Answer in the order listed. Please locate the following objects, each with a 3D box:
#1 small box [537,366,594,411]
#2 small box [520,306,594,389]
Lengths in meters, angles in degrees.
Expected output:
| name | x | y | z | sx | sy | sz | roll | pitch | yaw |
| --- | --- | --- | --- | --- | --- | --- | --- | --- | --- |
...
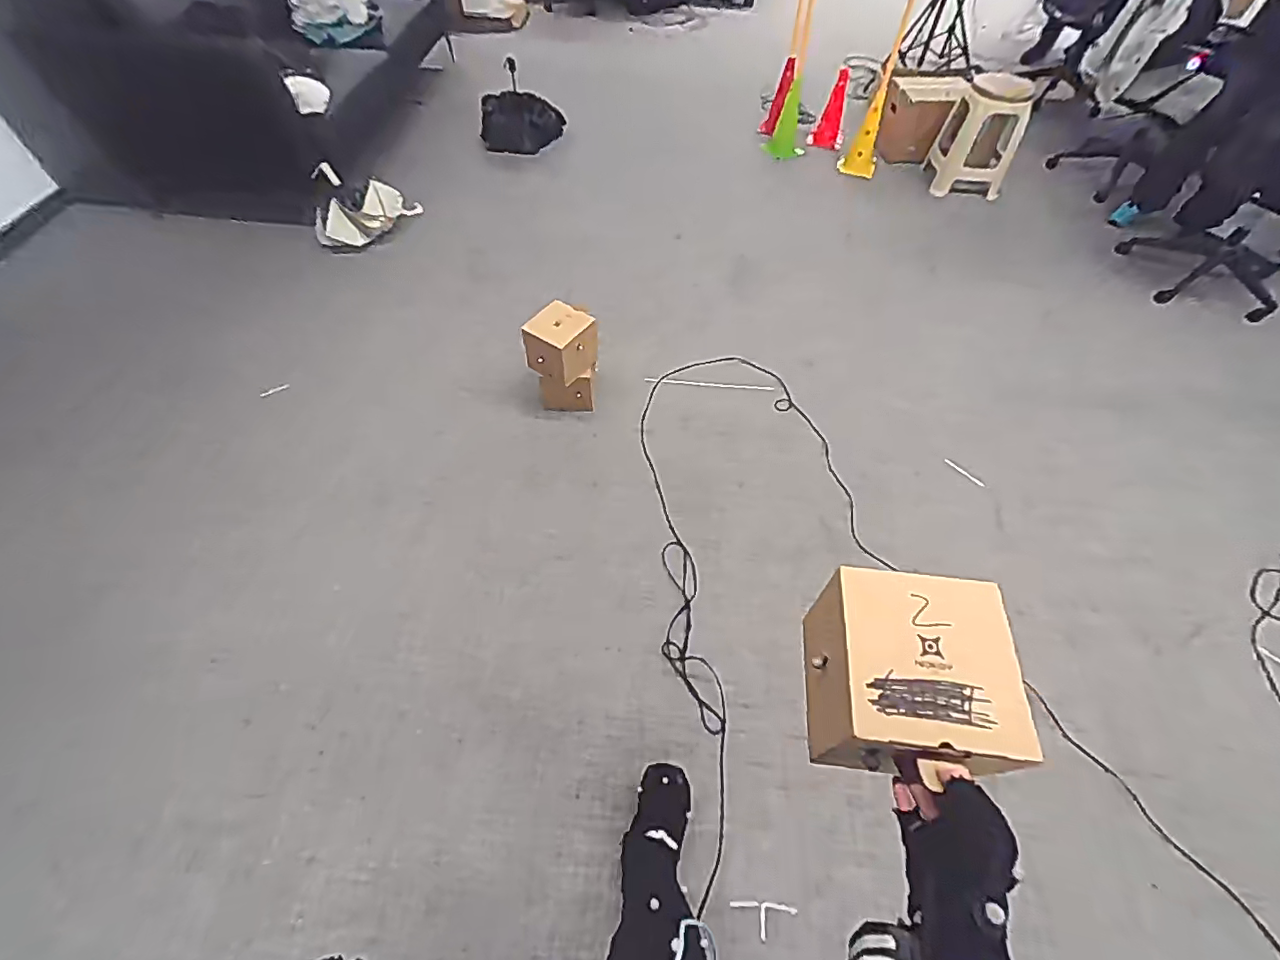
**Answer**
| name | x | y | z | sx | sy | sz | roll | pitch | yaw |
| --- | --- | --- | --- | --- | --- | --- | --- | --- | --- |
| small box | -0.254 | -0.353 | 1.884 | 0.179 | 0.176 | 0.168 | 1 | 55 | 0 |
| small box | -0.258 | -0.425 | 1.754 | 0.168 | 0.176 | 0.179 | 30 | 59 | 18 |
